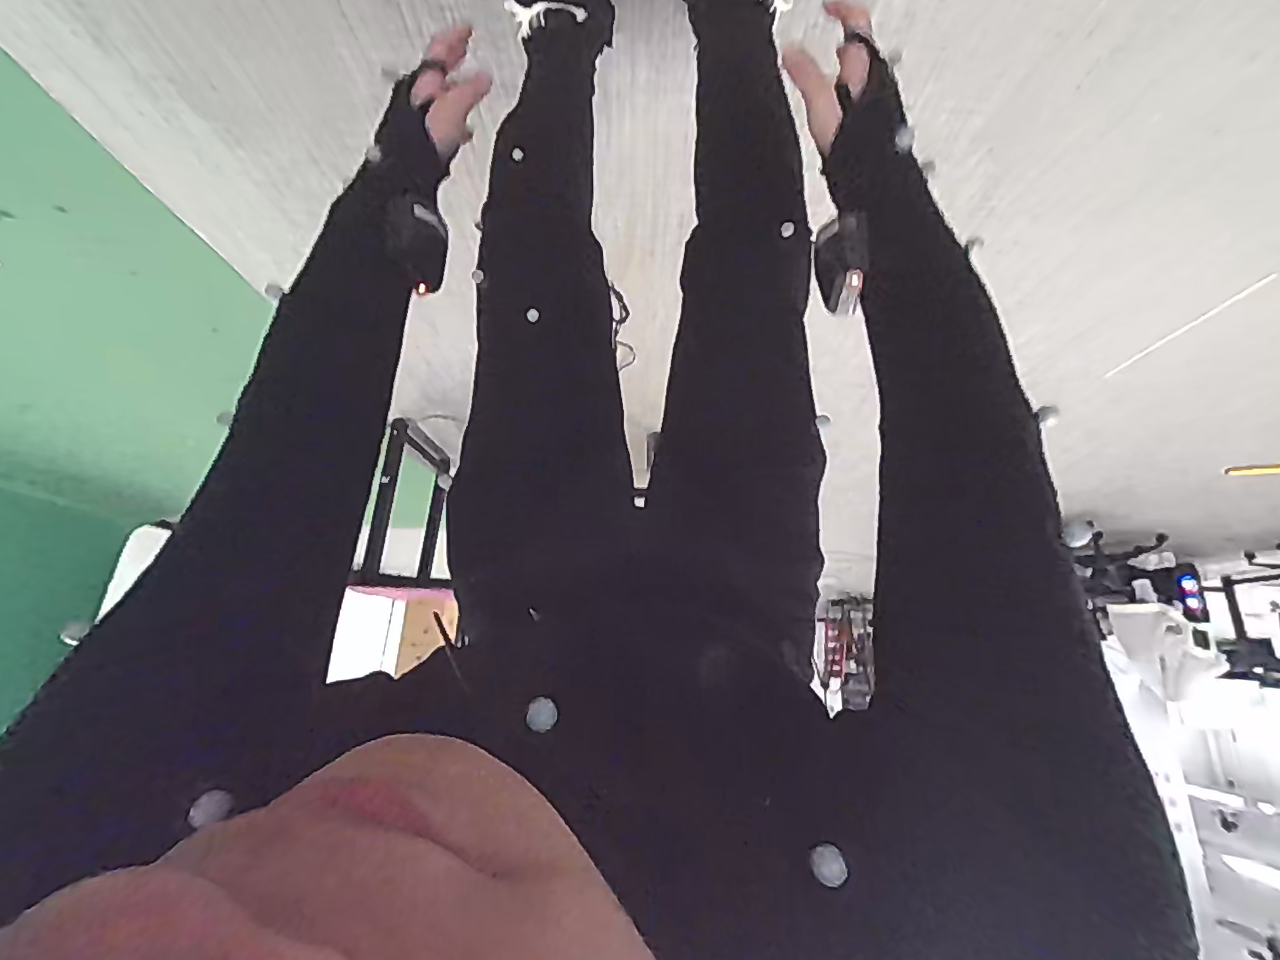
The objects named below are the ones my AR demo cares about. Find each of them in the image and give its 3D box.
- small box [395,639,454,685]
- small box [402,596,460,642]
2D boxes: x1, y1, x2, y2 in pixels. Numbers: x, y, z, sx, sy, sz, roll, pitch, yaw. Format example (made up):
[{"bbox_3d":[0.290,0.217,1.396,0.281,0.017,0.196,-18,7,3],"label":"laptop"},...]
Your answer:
[{"bbox_3d":[-0.876,0.740,2.209,0.168,0.176,0.179,3,163,1],"label":"small box"},{"bbox_3d":[-0.867,0.582,2.257,0.168,0.176,0.179,1,163,2],"label":"small box"}]
